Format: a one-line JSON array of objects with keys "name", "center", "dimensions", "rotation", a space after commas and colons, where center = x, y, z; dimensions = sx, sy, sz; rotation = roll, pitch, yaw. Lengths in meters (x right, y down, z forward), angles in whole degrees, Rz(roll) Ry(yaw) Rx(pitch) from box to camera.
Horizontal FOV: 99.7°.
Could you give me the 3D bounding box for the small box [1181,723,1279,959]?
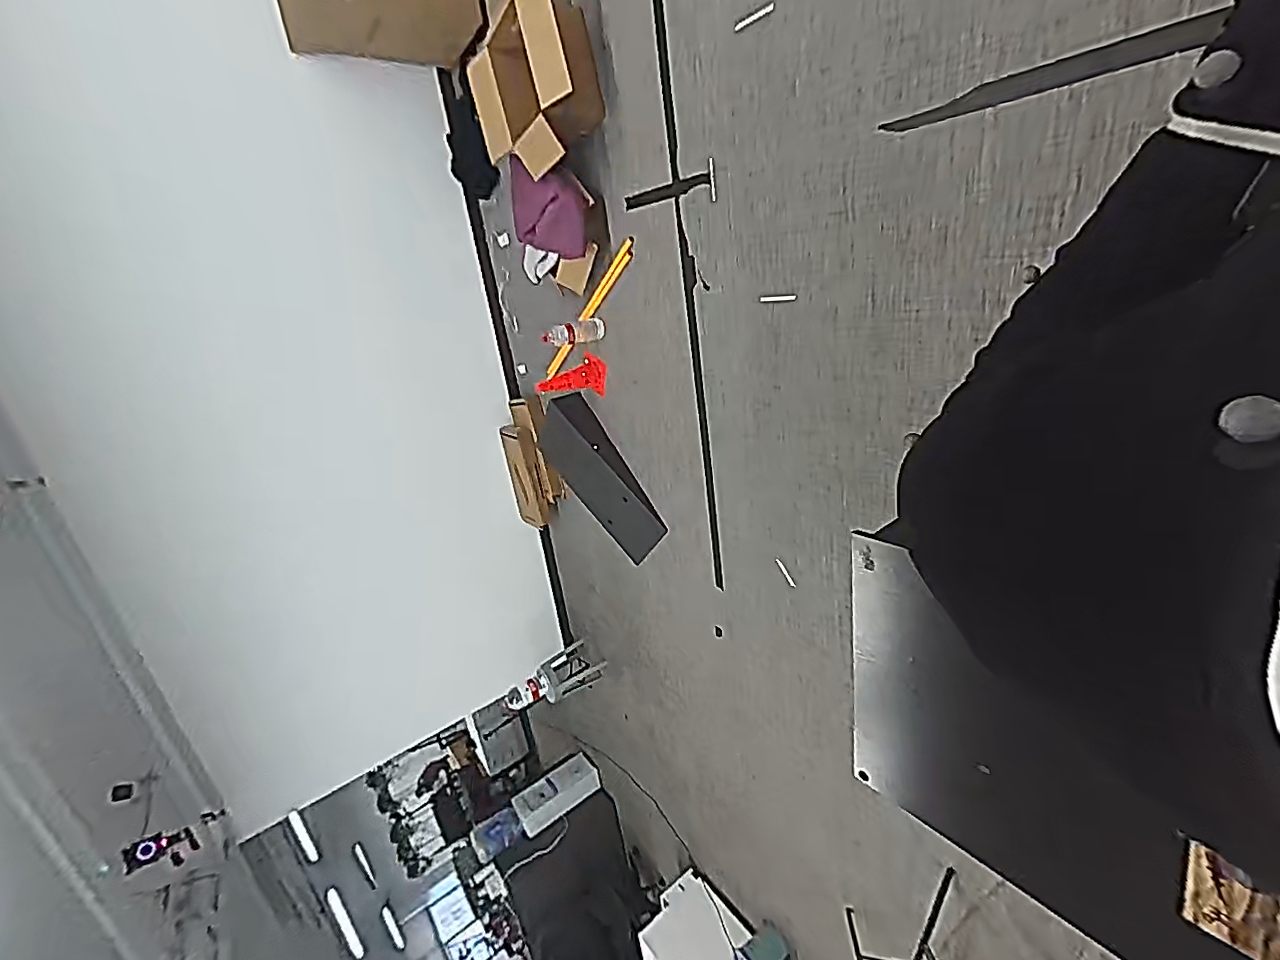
[{"name": "small box", "center": [0.692, 0.385, 0.544], "dimensions": [0.179, 0.176, 0.168], "rotation": [12, 118, 53]}]
